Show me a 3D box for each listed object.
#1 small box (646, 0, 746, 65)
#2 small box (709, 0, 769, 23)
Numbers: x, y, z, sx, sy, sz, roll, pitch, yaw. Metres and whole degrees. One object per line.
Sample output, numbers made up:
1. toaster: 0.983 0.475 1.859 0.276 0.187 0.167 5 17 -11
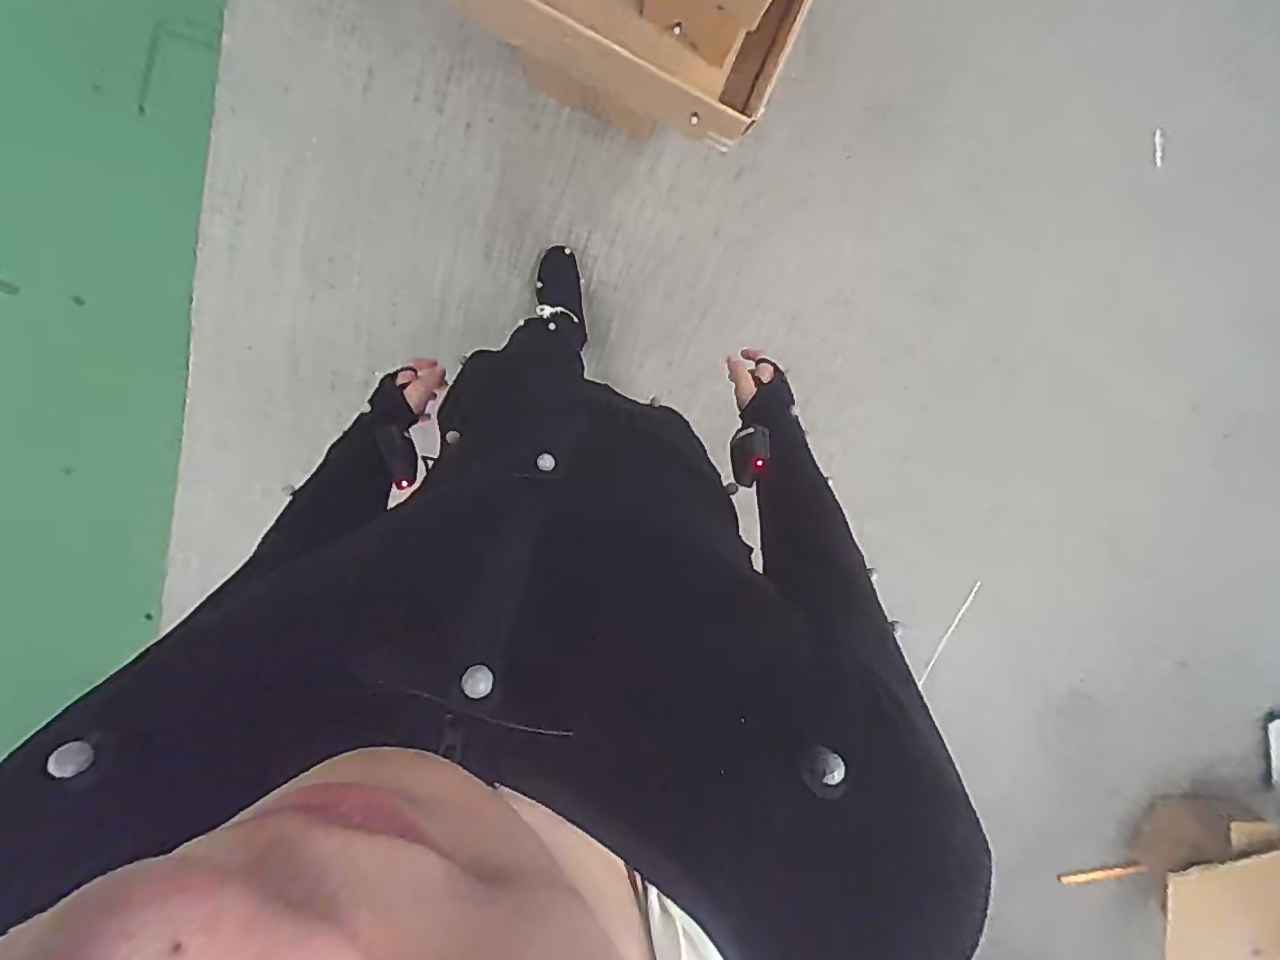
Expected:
1. small box: 0.117 -0.821 0.861 0.168 0.176 0.179 23 106 -12
2. small box: 0.134 -0.760 0.709 0.168 0.176 0.179 19 107 -10
